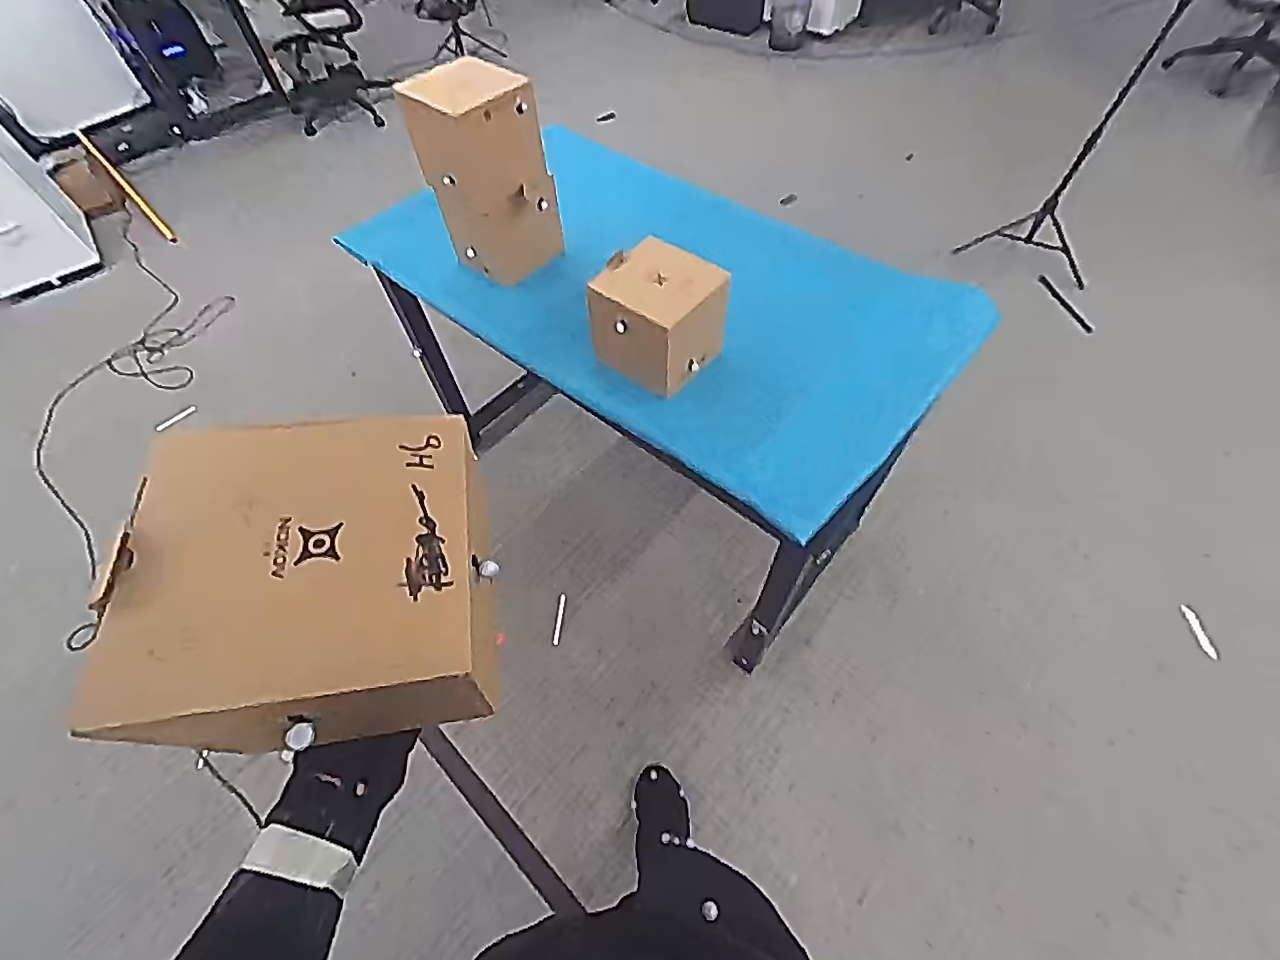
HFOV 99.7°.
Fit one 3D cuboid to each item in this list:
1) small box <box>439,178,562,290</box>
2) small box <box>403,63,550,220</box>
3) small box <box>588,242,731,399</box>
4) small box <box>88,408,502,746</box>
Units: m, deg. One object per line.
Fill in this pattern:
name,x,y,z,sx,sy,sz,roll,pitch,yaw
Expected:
small box,-0.280,-0.533,1.124,0.168,0.176,0.179,37,68,25
small box,-0.292,-0.614,0.978,0.179,0.176,0.168,36,65,23
small box,0.034,-0.271,0.935,0.179,0.176,0.168,35,65,23
small box,-0.198,0.073,0.373,0.179,0.176,0.168,-8,61,-13
